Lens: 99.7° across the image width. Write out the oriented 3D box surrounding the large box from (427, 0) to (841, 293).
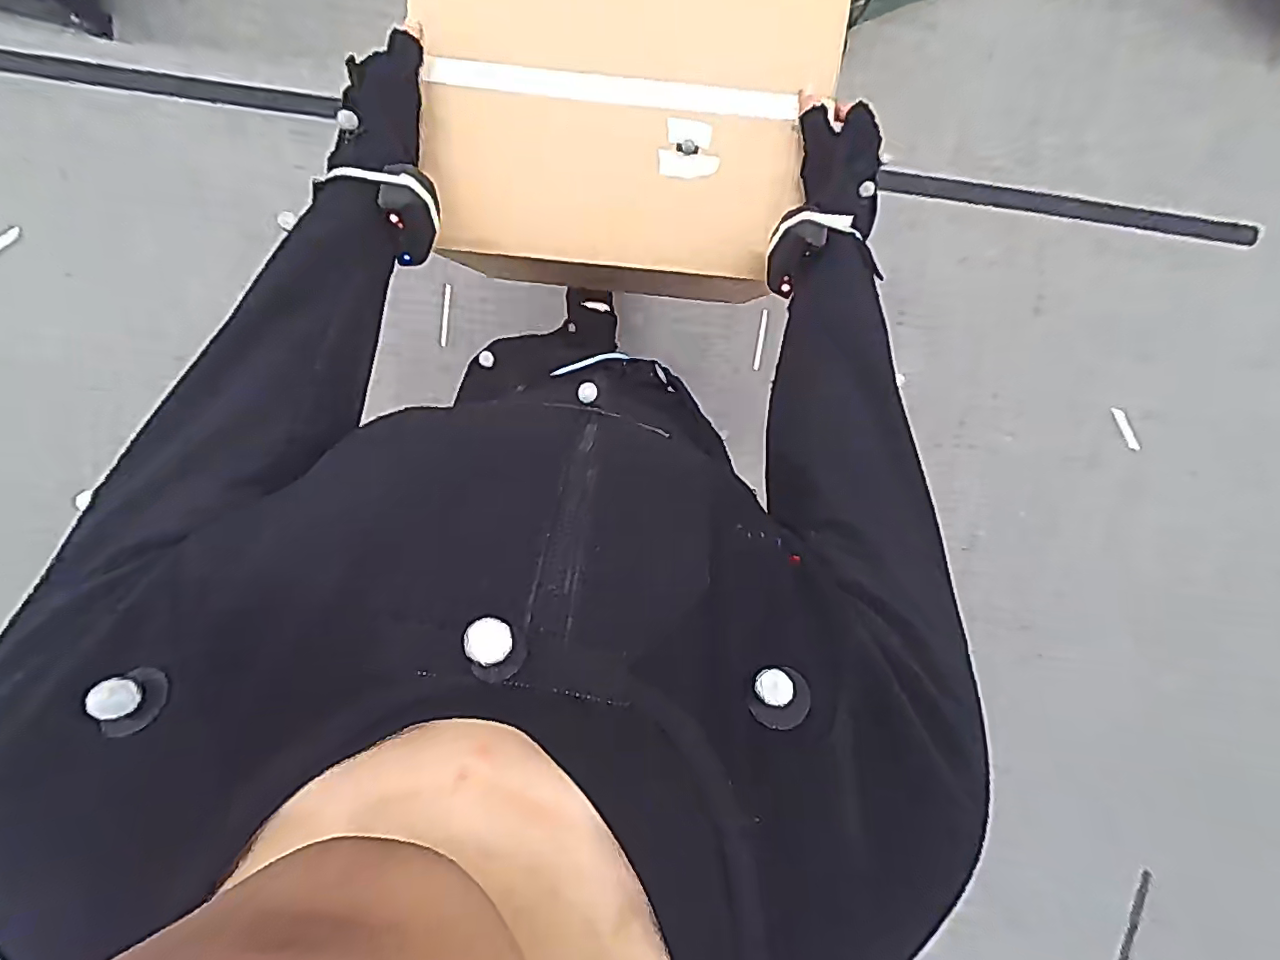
[{"bbox_3d":[-0.016,-0.422,0.681,0.408,0.320,0.320,4,105,-3],"label":"large box"}]
